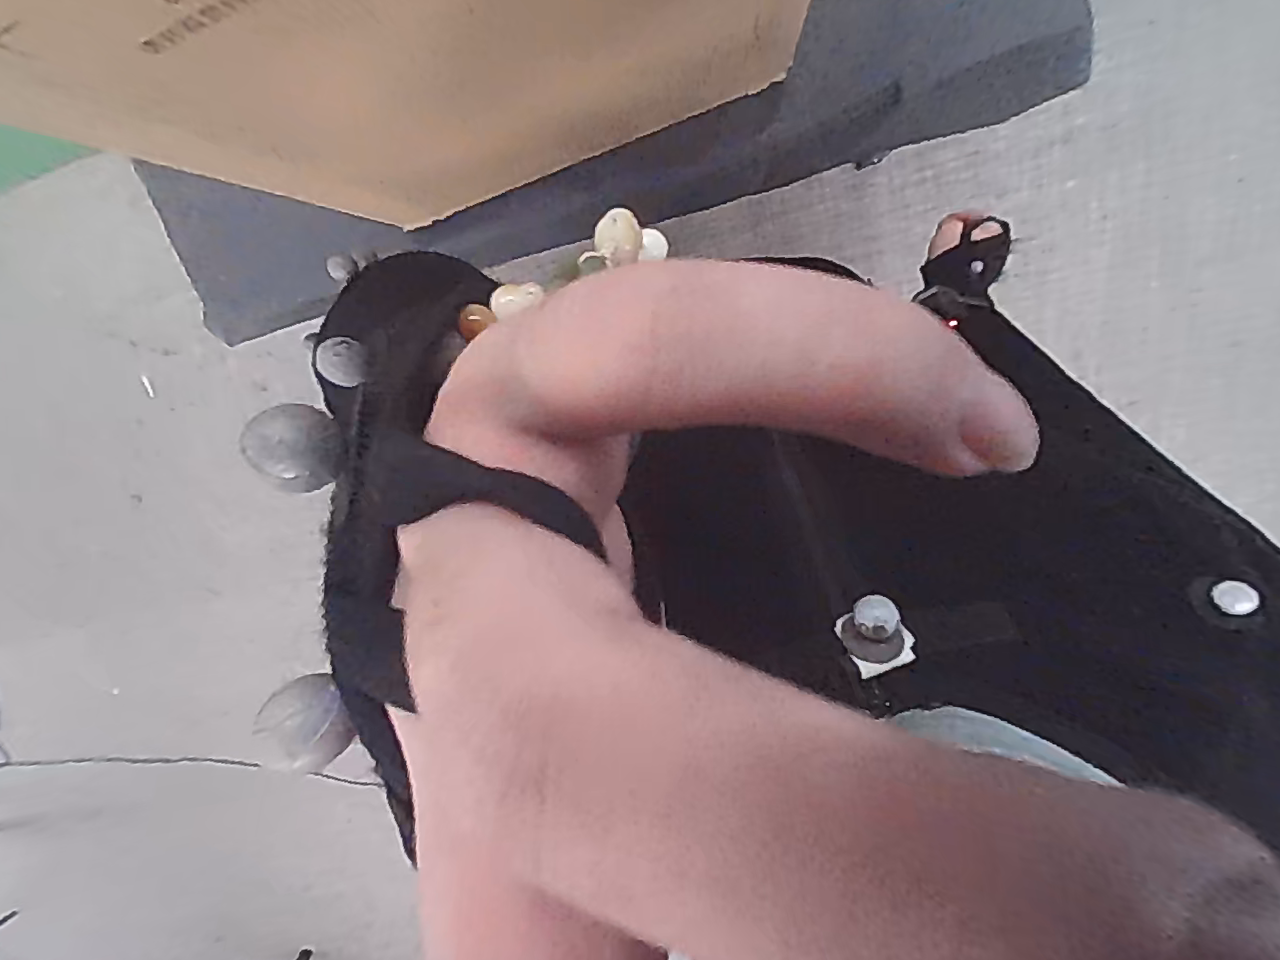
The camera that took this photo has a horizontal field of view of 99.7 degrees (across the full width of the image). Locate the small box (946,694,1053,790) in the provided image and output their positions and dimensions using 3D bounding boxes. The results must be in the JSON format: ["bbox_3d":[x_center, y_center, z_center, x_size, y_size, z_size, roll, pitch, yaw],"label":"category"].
[{"bbox_3d":[1.089,0.794,1.654,0.179,0.176,0.168,28,108,-1],"label":"small box"}]
